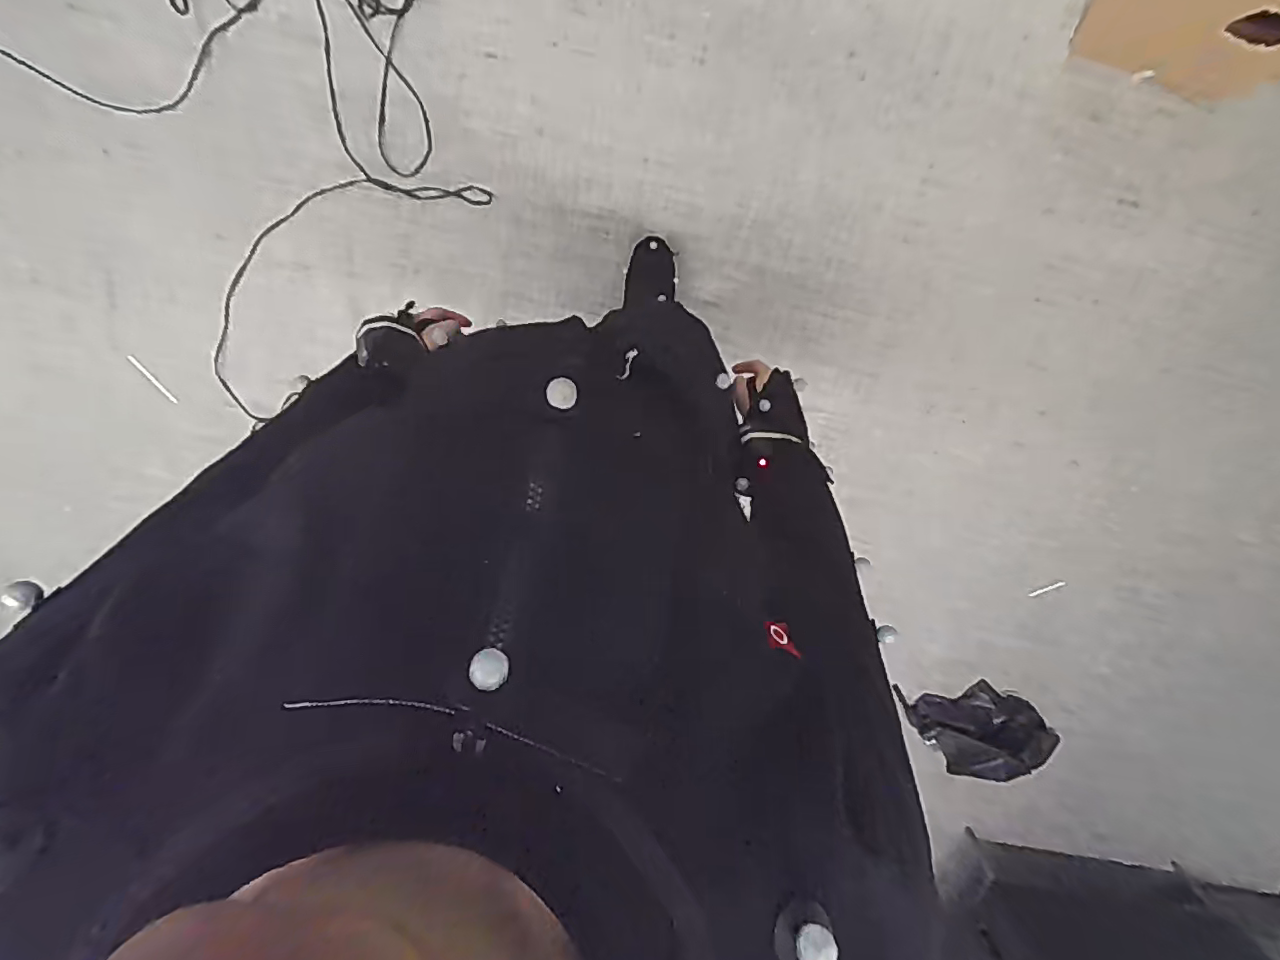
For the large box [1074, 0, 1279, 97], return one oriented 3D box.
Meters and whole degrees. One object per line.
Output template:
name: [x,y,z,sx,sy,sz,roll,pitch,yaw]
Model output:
large box: [1.031,-0.914,0.852,0.320,0.320,0.408,15,113,-5]
